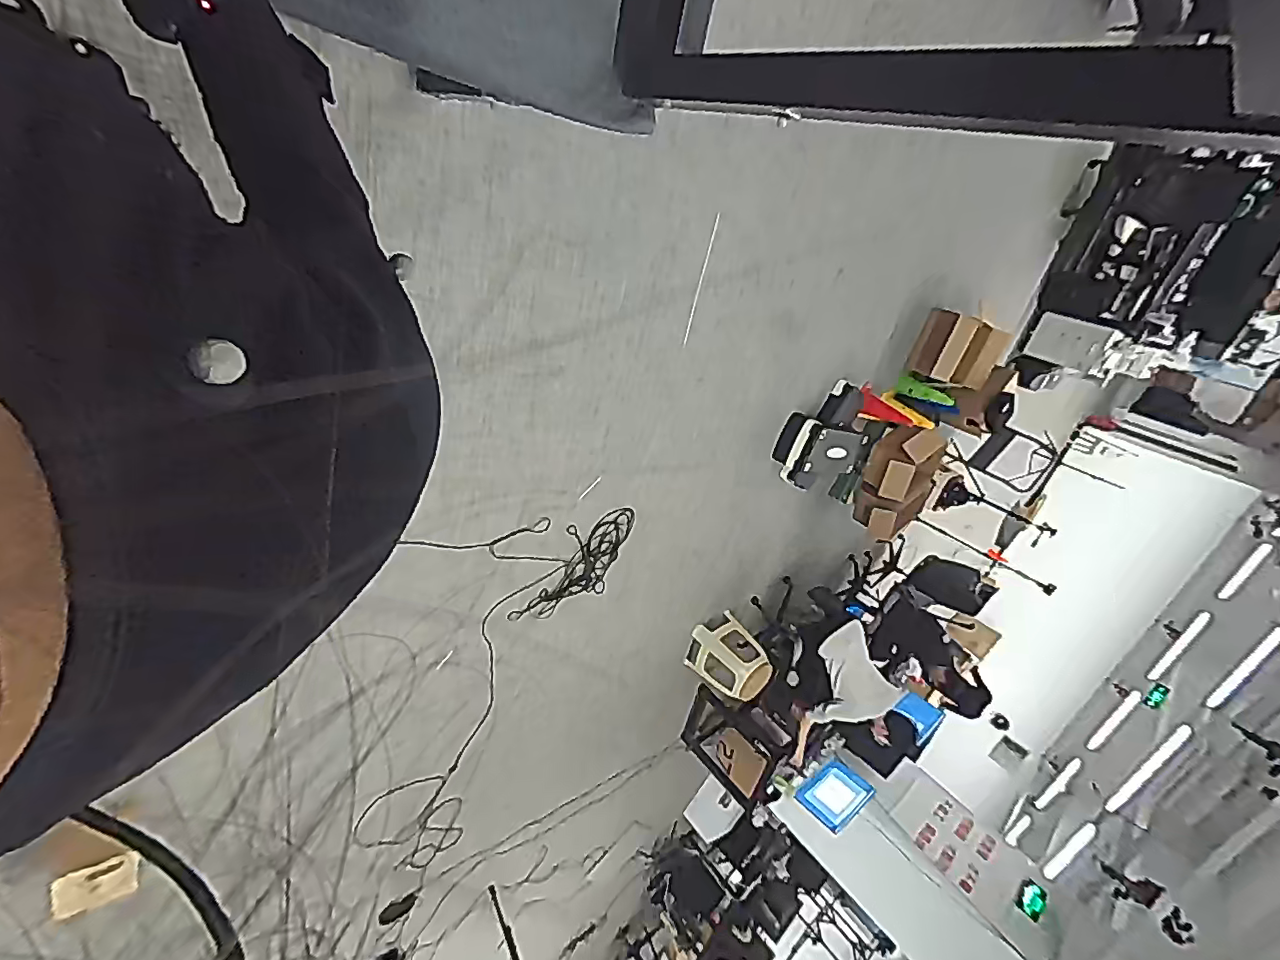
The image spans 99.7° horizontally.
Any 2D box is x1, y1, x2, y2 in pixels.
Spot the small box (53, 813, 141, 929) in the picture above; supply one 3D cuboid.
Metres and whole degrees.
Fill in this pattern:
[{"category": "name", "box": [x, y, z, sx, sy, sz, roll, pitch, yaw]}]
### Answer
[{"category": "small box", "box": [-1.497, 1.062, 1.490, 0.168, 0.176, 0.179, 0, 118, -45]}]
